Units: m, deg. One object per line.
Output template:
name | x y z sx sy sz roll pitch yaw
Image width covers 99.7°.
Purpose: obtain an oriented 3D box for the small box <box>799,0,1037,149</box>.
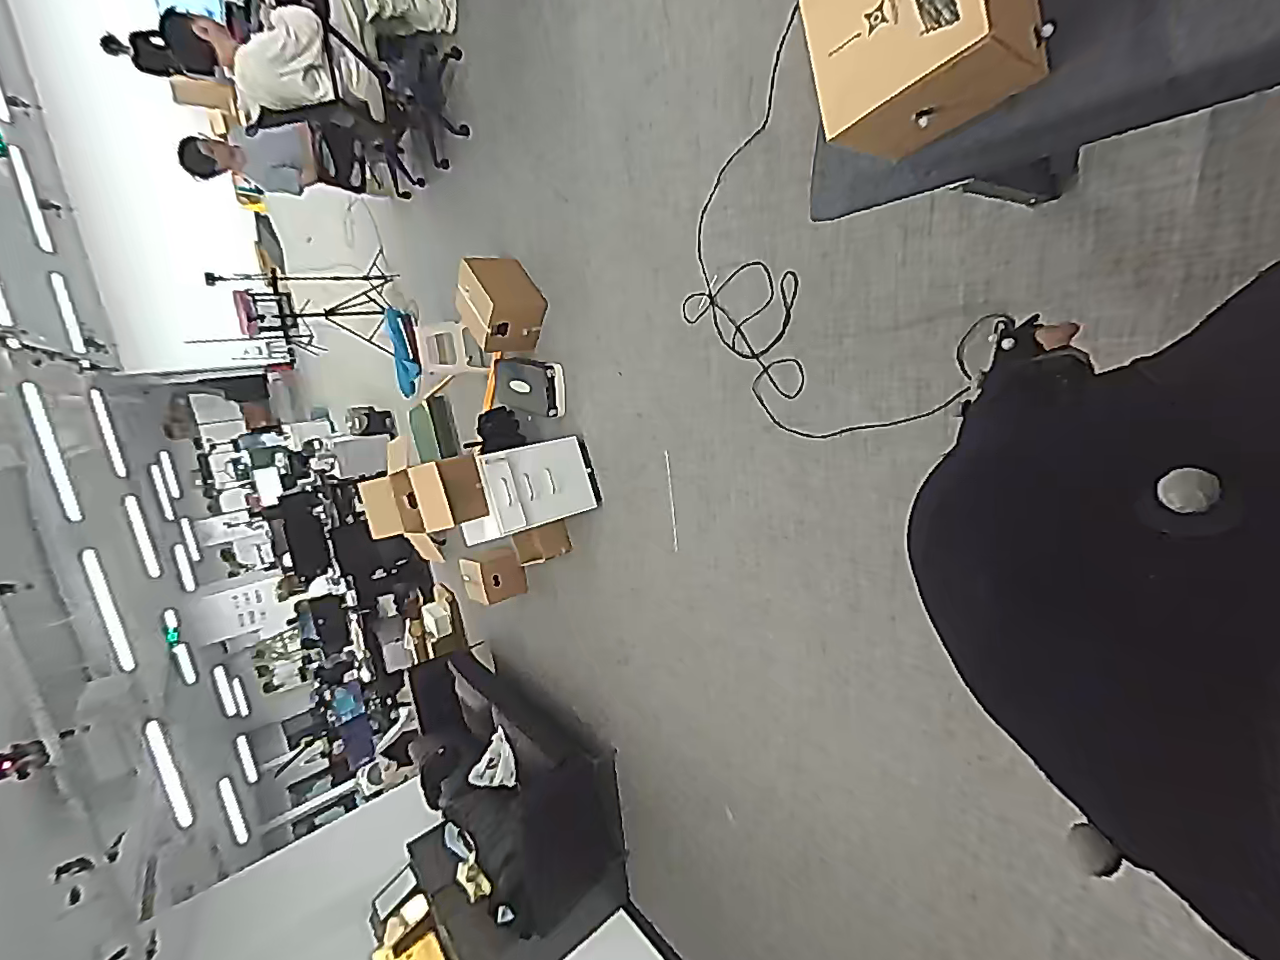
small box | 0.312 -0.502 0.602 0.179 0.176 0.168 -6 99 54
